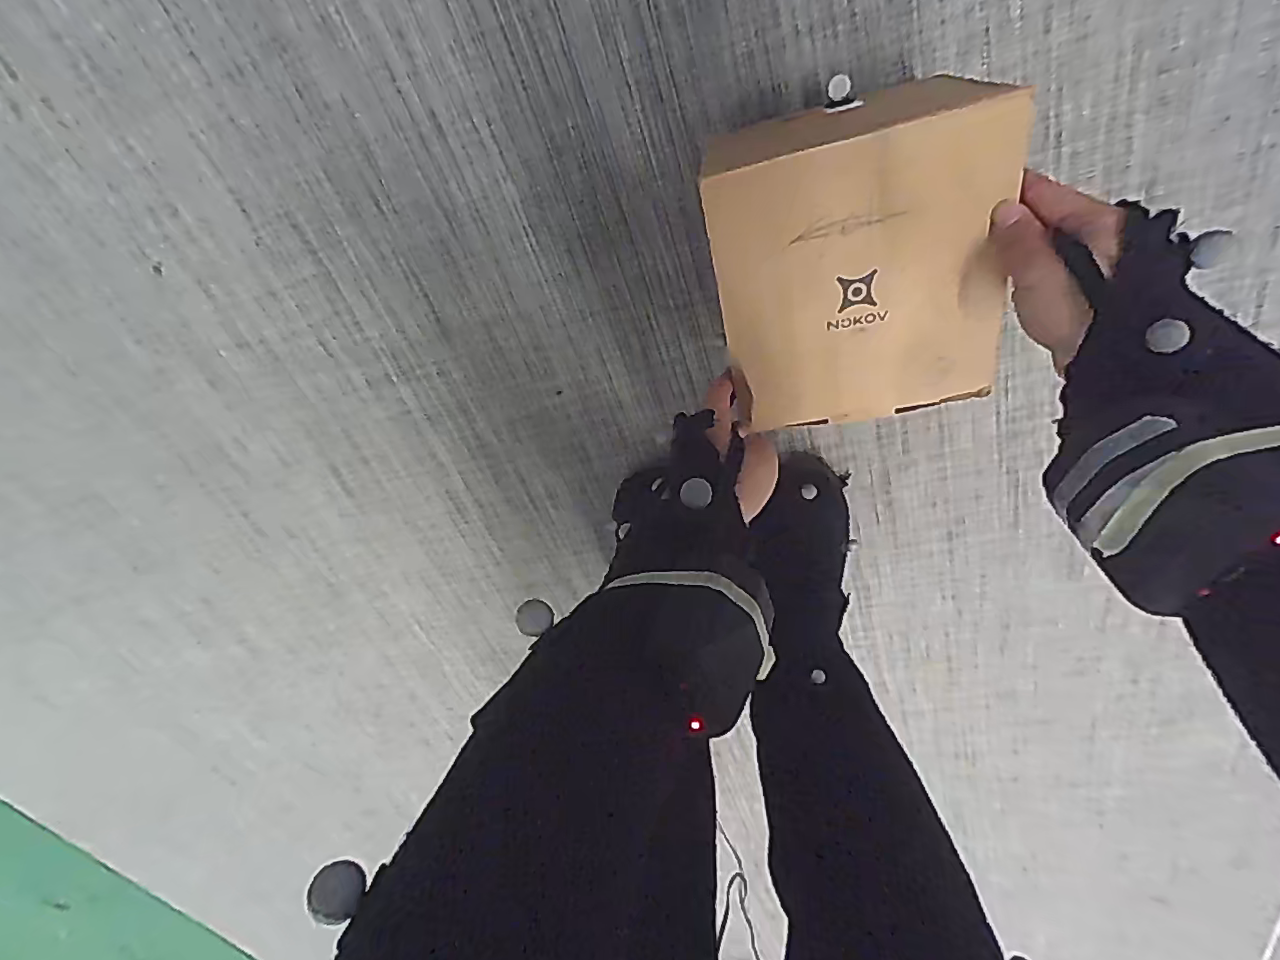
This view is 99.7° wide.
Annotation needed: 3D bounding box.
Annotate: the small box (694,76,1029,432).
[{"bbox_3d":[0.139,-0.161,0.388,0.168,0.176,0.179,-9,126,14],"label":"small box"}]
